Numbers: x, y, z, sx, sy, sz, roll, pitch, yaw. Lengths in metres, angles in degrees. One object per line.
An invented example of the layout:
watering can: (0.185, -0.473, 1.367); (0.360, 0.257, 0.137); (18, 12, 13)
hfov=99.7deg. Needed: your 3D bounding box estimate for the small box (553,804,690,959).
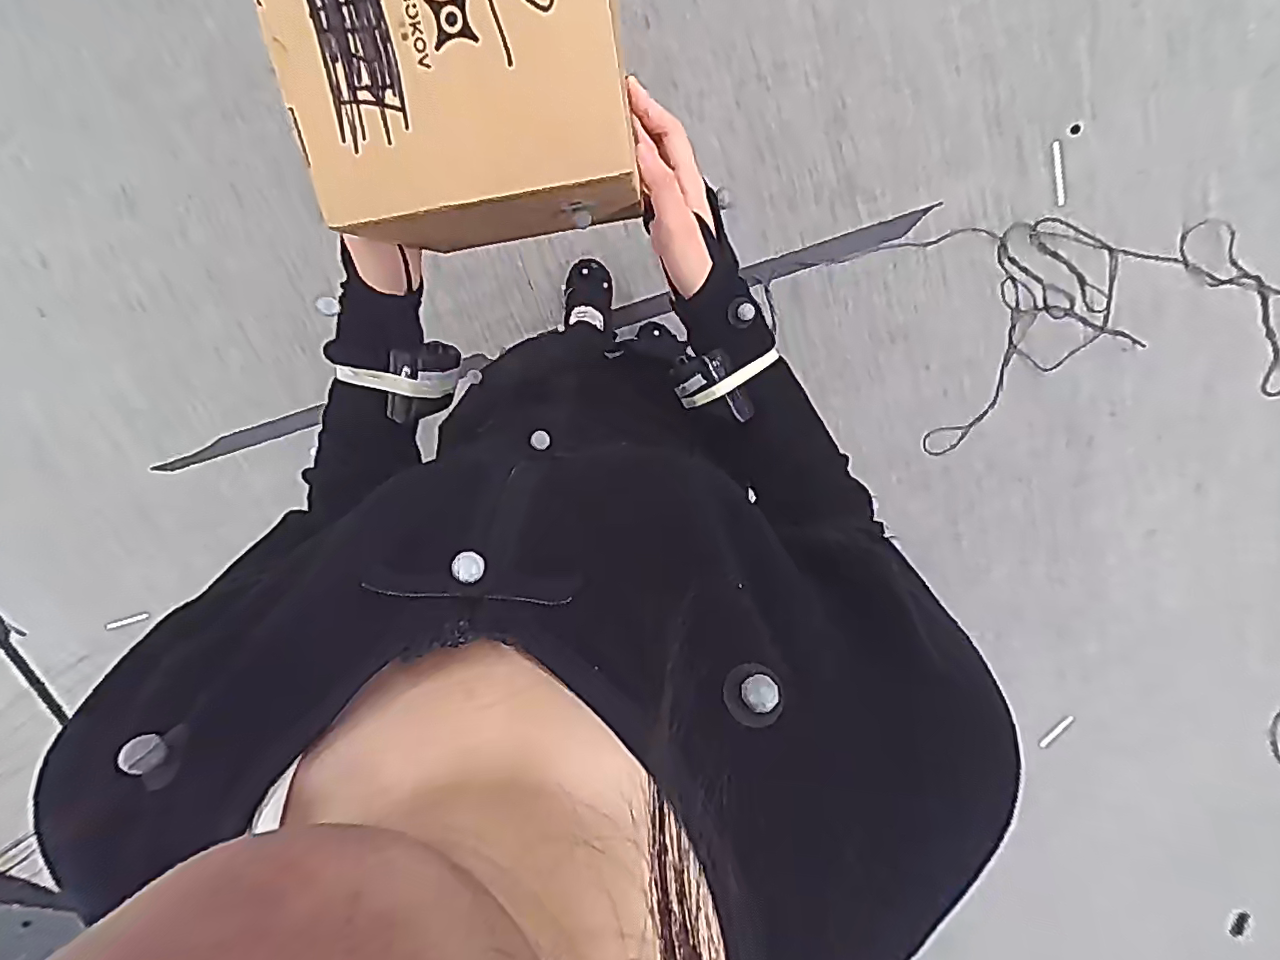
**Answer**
small box: (-0.020, 0.657, 0.863); (0.179, 0.176, 0.168); (-13, 107, 6)
